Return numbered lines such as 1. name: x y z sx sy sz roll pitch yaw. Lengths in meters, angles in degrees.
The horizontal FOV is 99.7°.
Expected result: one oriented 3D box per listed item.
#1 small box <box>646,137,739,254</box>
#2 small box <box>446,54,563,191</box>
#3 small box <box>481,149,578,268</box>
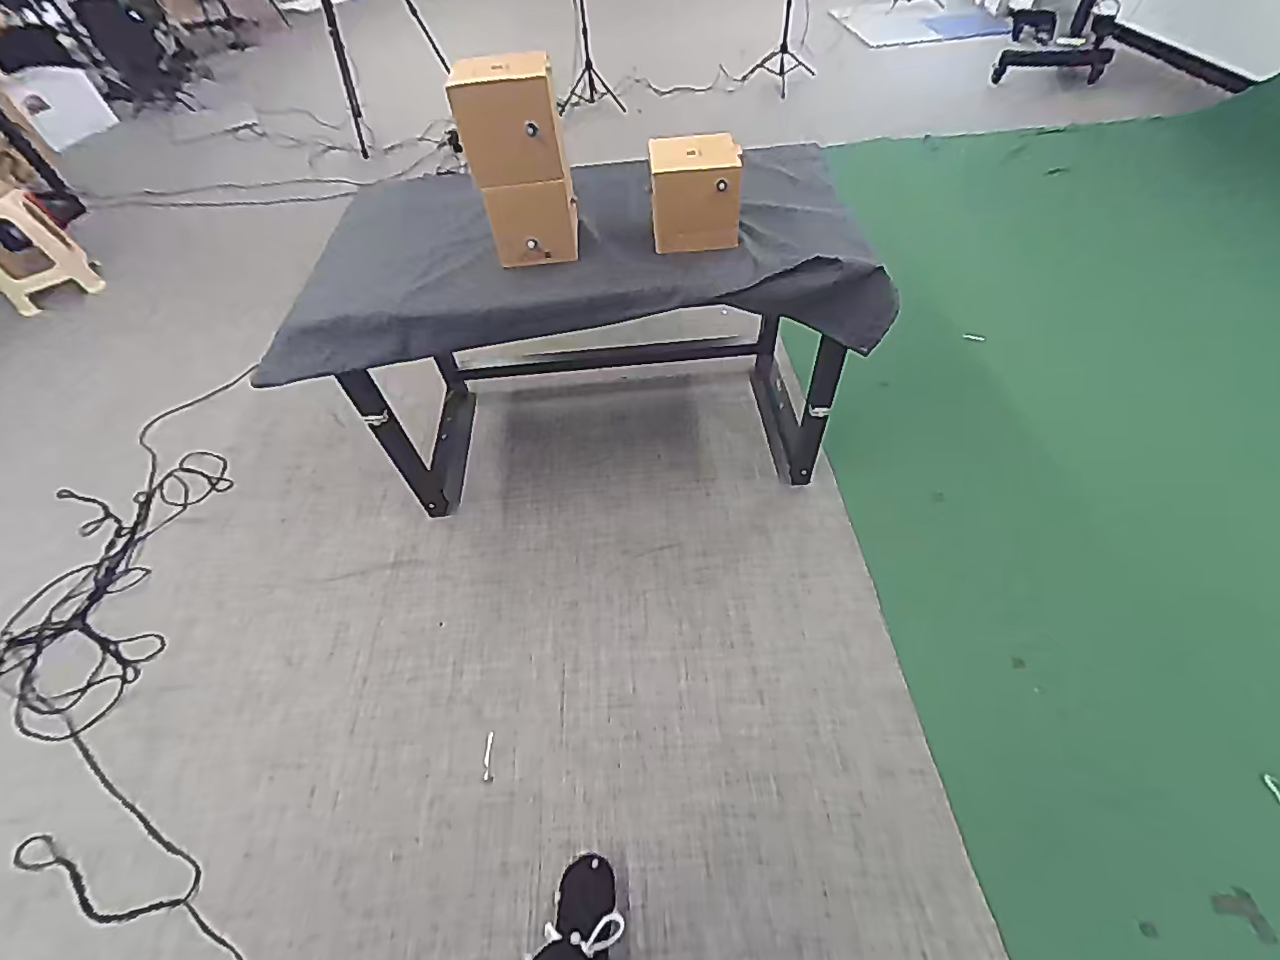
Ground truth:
1. small box: 0.108 -0.600 1.150 0.179 0.176 0.168 -4 51 1
2. small box: -0.245 -0.678 1.030 0.179 0.176 0.168 -7 51 1
3. small box: -0.228 -0.579 1.159 0.168 0.176 0.179 -6 52 1
